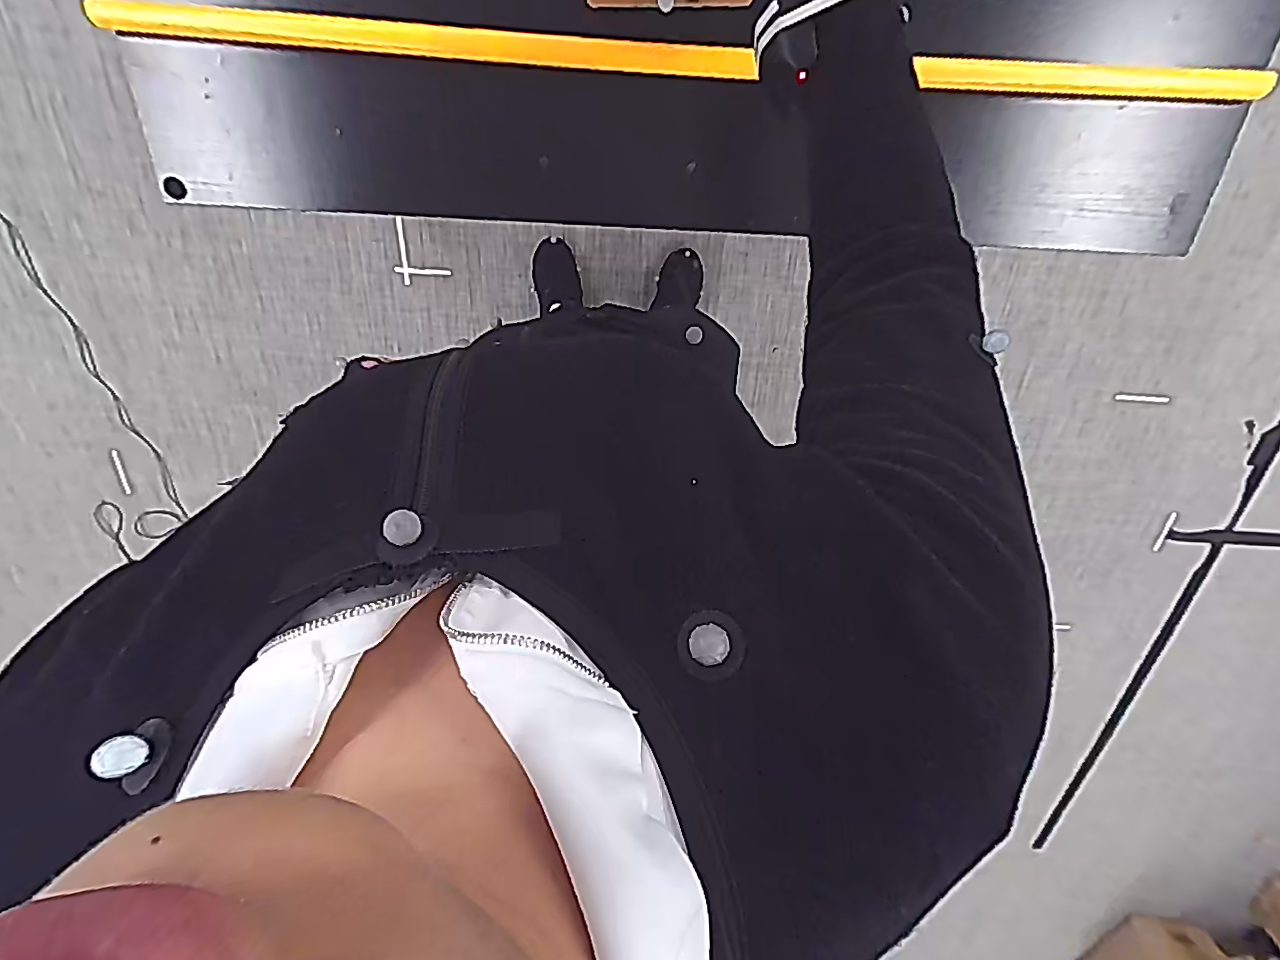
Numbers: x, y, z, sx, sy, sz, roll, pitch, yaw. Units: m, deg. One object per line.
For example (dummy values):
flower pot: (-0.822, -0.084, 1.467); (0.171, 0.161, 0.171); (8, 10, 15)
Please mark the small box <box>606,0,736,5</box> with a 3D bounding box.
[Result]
small box: (0.032, -0.534, 0.443); (0.168, 0.176, 0.179); (-1, 116, -1)
